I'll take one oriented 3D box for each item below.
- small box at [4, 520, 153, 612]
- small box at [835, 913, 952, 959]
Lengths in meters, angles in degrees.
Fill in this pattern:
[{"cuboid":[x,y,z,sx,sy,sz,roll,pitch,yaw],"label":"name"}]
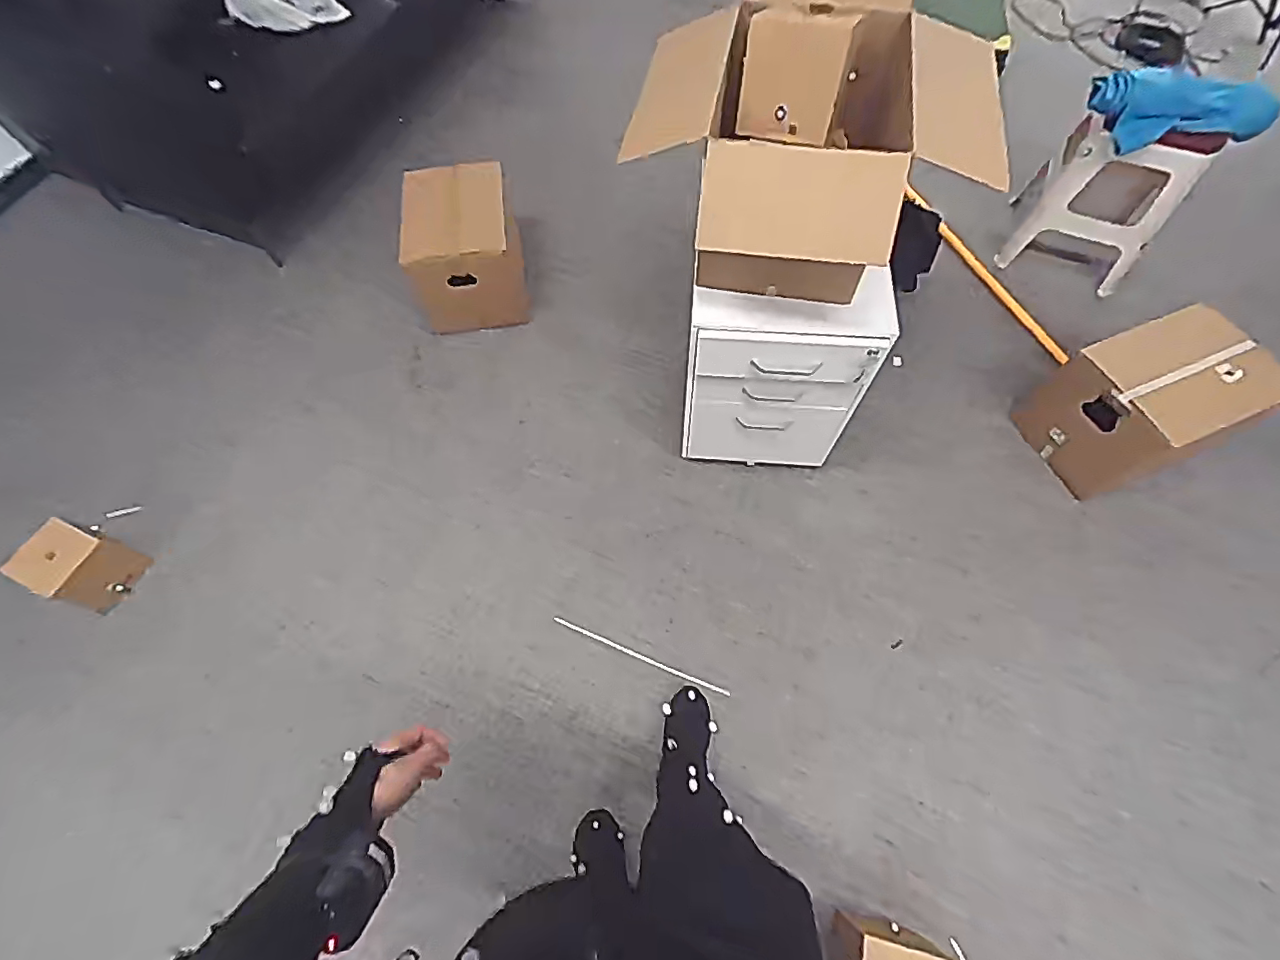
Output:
[{"cuboid":[-1.473,0.235,1.432,0.179,0.176,0.168,21,68,10],"label":"small box"},{"cuboid":[0.466,0.949,1.004,0.168,0.176,0.179,12,66,8],"label":"small box"}]
